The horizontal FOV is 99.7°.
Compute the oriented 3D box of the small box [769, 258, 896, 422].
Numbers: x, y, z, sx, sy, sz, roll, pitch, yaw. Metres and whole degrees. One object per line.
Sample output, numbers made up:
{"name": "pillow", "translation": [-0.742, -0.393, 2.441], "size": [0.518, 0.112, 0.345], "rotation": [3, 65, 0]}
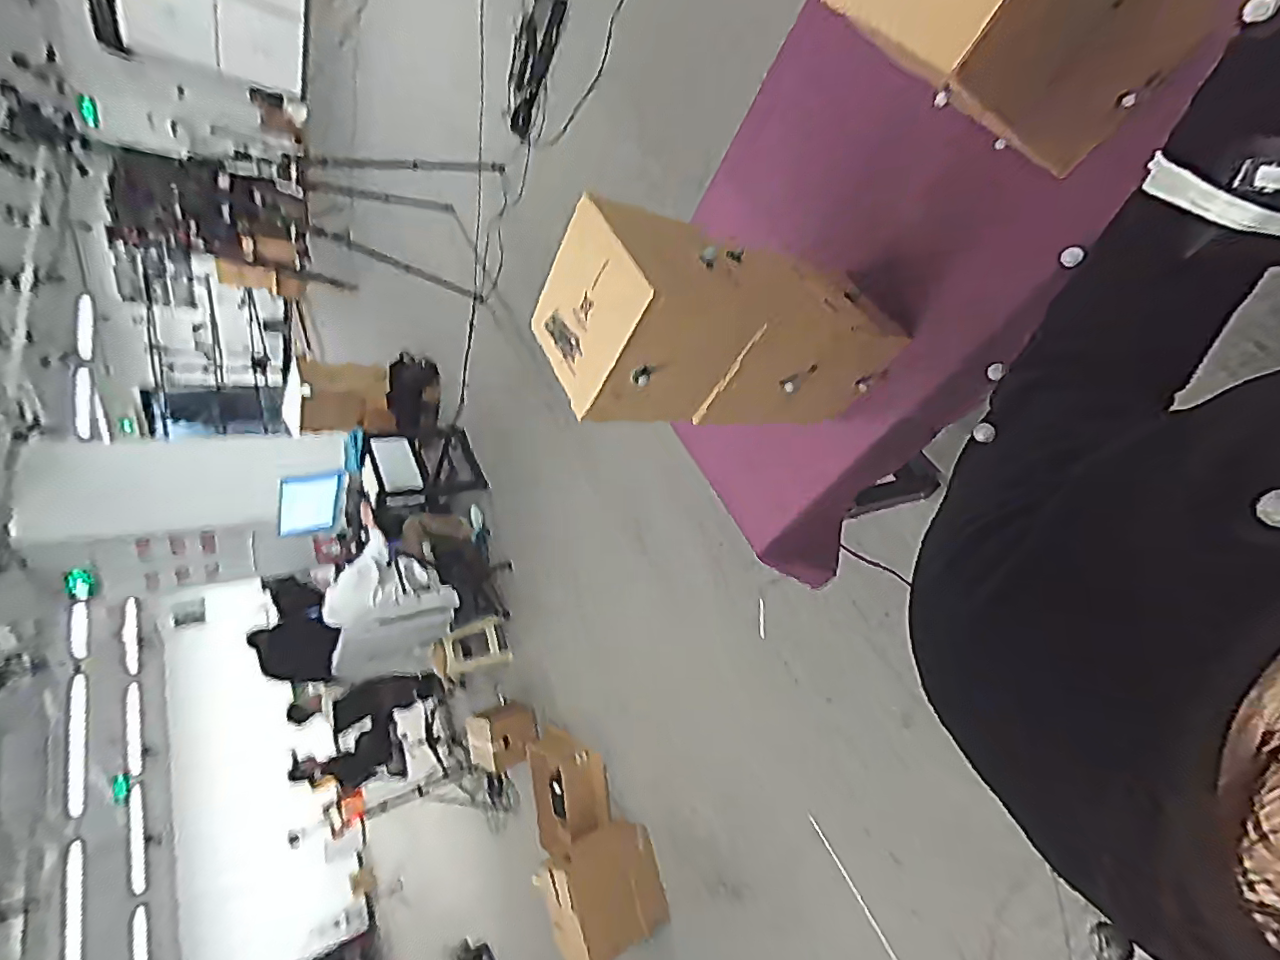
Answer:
{"name": "small box", "translation": [0.262, -0.209, 0.835], "size": [0.168, 0.176, 0.179], "rotation": [58, 134, 28]}

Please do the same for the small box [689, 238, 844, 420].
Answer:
{"name": "small box", "translation": [0.133, -0.197, 0.733], "size": [0.179, 0.176, 0.168], "rotation": [59, 136, 27]}

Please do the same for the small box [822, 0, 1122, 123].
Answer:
{"name": "small box", "translation": [0.309, -0.452, 0.478], "size": [0.179, 0.176, 0.168], "rotation": [59, 135, 27]}

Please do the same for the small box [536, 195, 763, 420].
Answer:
{"name": "small box", "translation": [0.007, -0.186, 0.627], "size": [0.179, 0.176, 0.168], "rotation": [-53, 56, 40]}
